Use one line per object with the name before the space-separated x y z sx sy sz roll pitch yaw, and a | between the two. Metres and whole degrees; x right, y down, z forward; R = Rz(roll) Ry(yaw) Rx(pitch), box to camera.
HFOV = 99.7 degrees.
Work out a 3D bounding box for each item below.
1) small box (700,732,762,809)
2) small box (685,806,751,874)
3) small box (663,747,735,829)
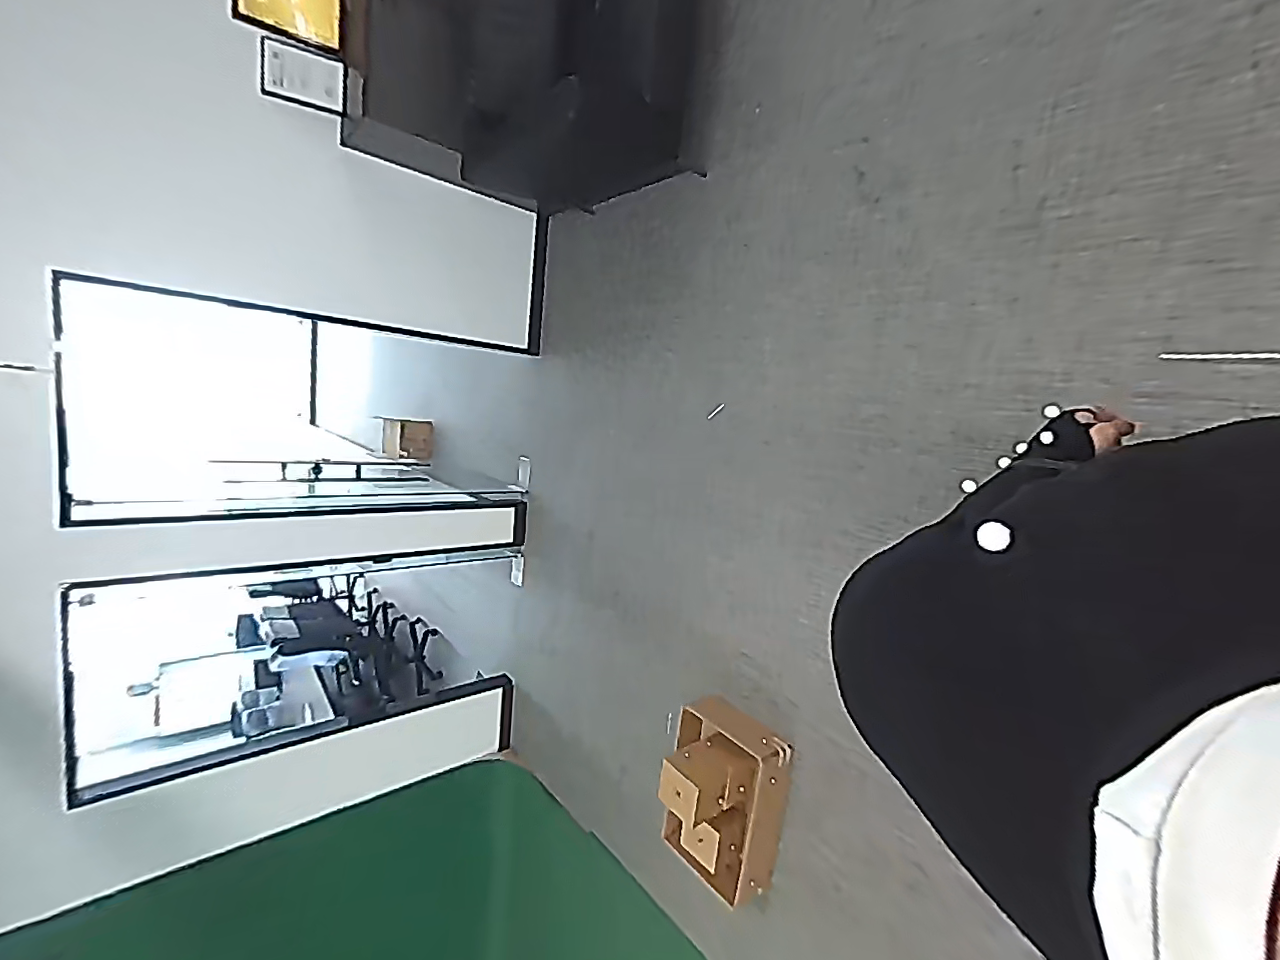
small box | 0.334 1.077 2.024 0.179 0.176 0.168 15 101 48
small box | 0.300 1.334 2.059 0.179 0.176 0.168 14 100 47
small box | 0.208 1.080 1.919 0.179 0.176 0.168 18 105 47
